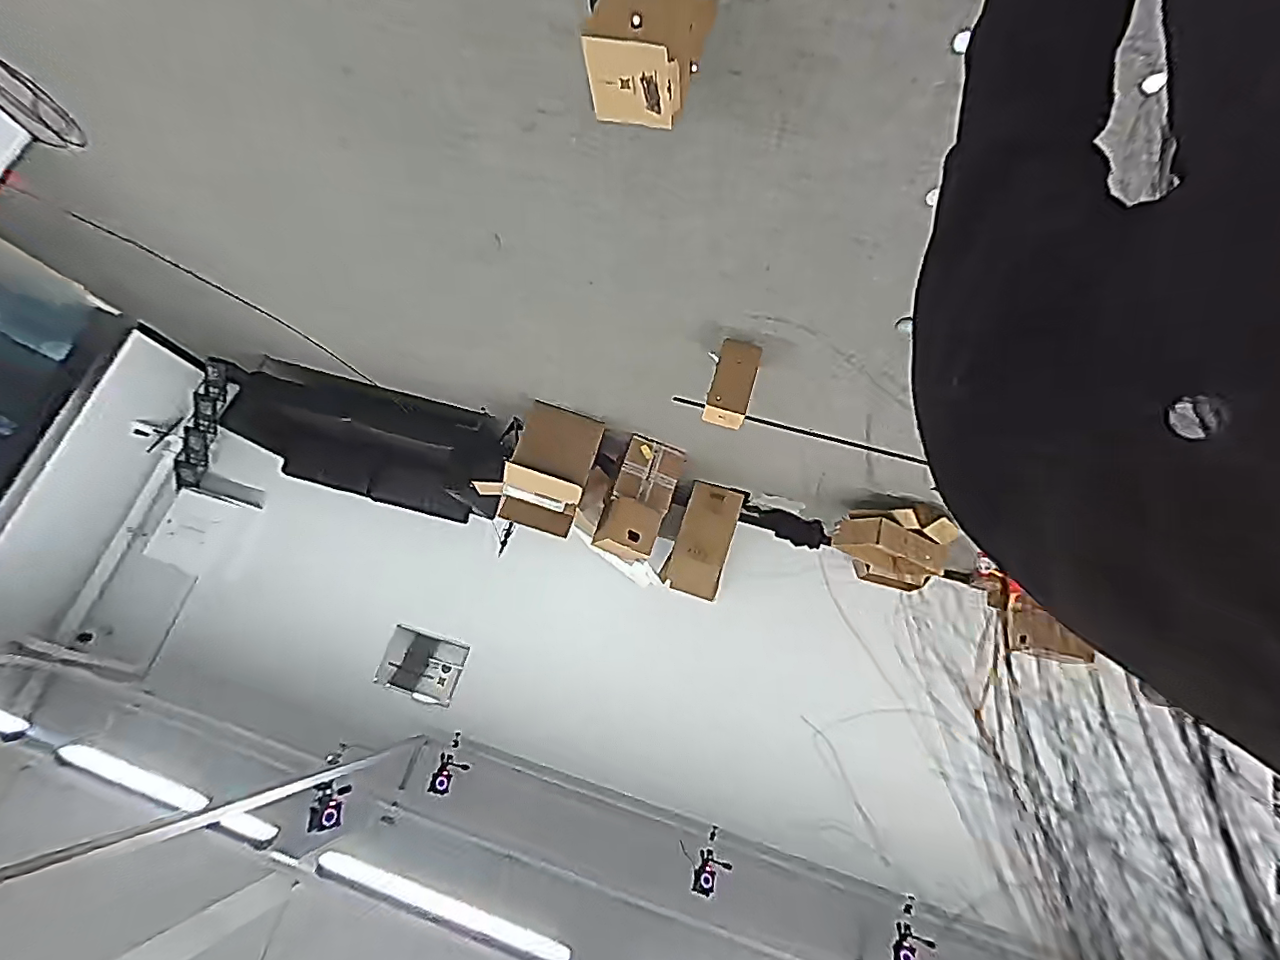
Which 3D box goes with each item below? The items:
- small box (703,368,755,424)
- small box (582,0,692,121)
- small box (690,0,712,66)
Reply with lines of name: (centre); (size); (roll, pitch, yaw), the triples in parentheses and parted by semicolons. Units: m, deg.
small box: (0.388, -0.371, 2.360); (0.179, 0.176, 0.168); (16, 165, 4)
small box: (0.004, -0.866, 1.085); (0.179, 0.176, 0.168); (15, 164, 11)
small box: (0.052, -1.016, 1.134); (0.179, 0.176, 0.168); (15, 164, 13)
